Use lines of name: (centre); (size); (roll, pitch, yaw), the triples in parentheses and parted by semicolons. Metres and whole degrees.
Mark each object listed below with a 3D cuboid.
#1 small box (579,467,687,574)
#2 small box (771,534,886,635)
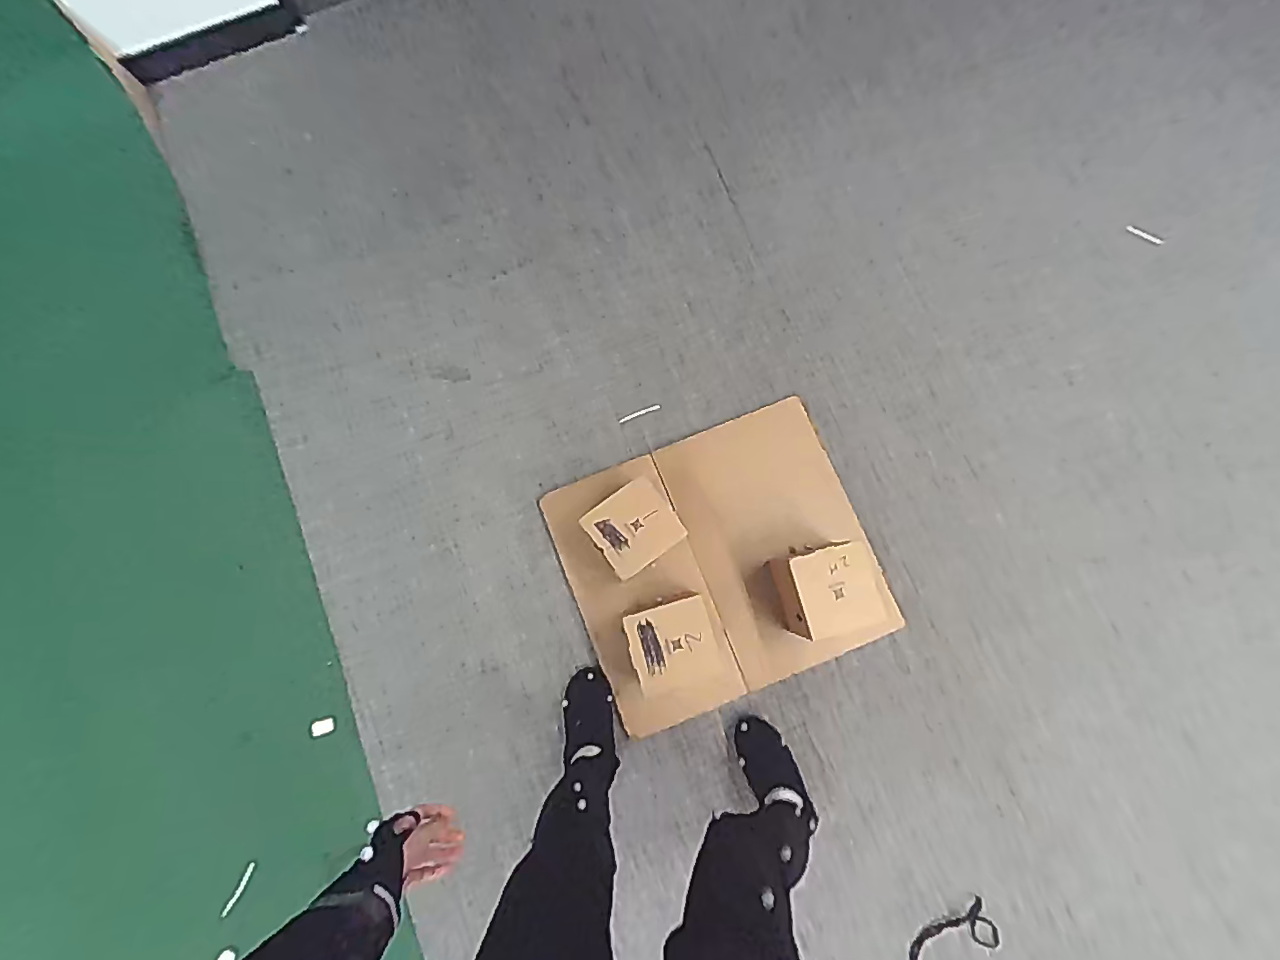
small box: (-0.014, 0.098, 1.217); (0.179, 0.176, 0.168); (-35, 82, -7)
small box: (0.404, 0.225, 1.190); (0.168, 0.176, 0.179); (-14, 81, -3)
